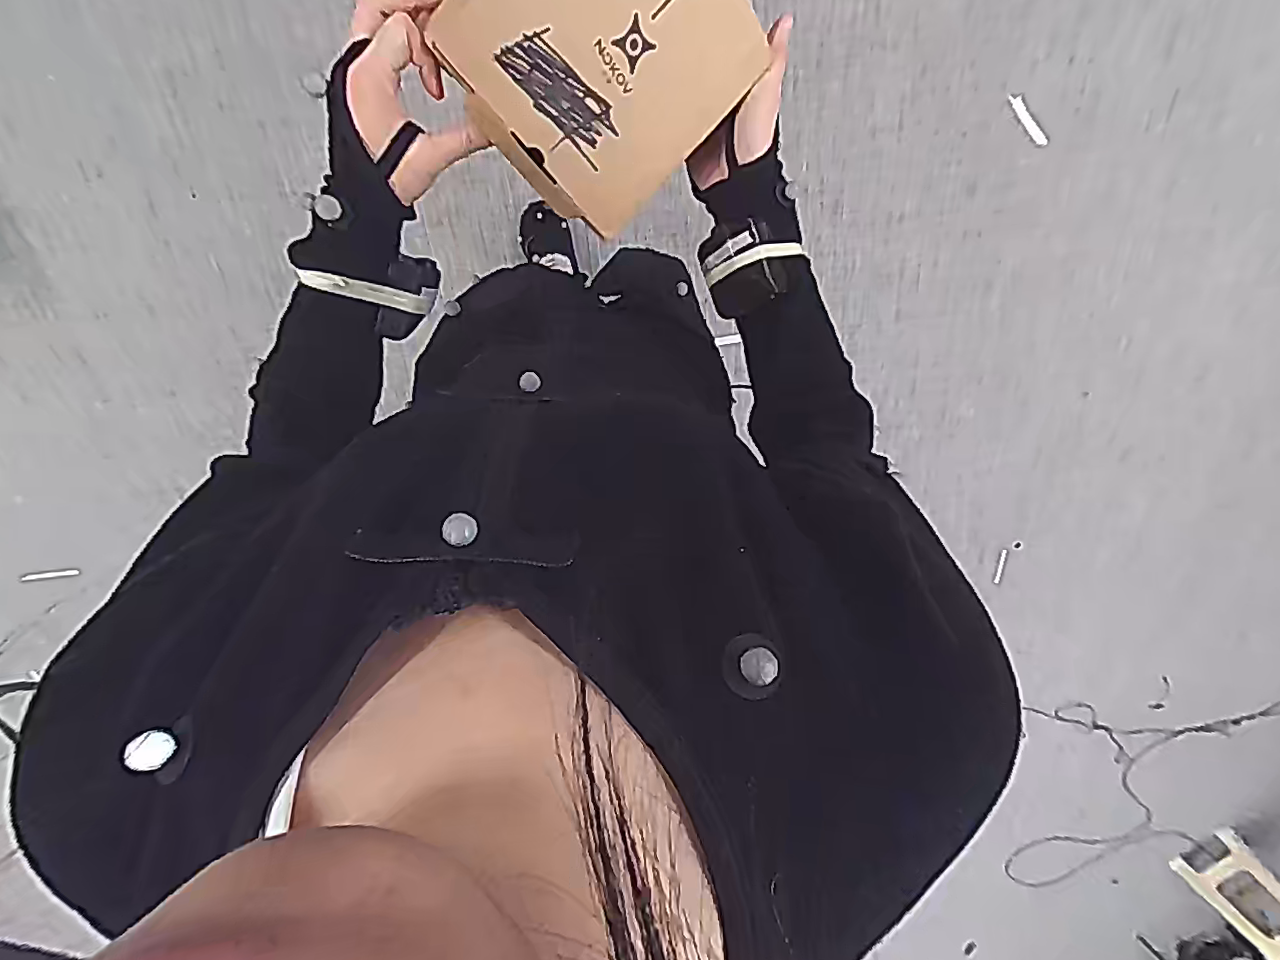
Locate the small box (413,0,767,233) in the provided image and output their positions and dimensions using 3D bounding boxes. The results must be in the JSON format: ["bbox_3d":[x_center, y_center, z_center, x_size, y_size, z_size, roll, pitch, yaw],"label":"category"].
[{"bbox_3d":[-0.046,-0.332,0.402,0.179,0.176,0.168,-44,139,13],"label":"small box"}]
